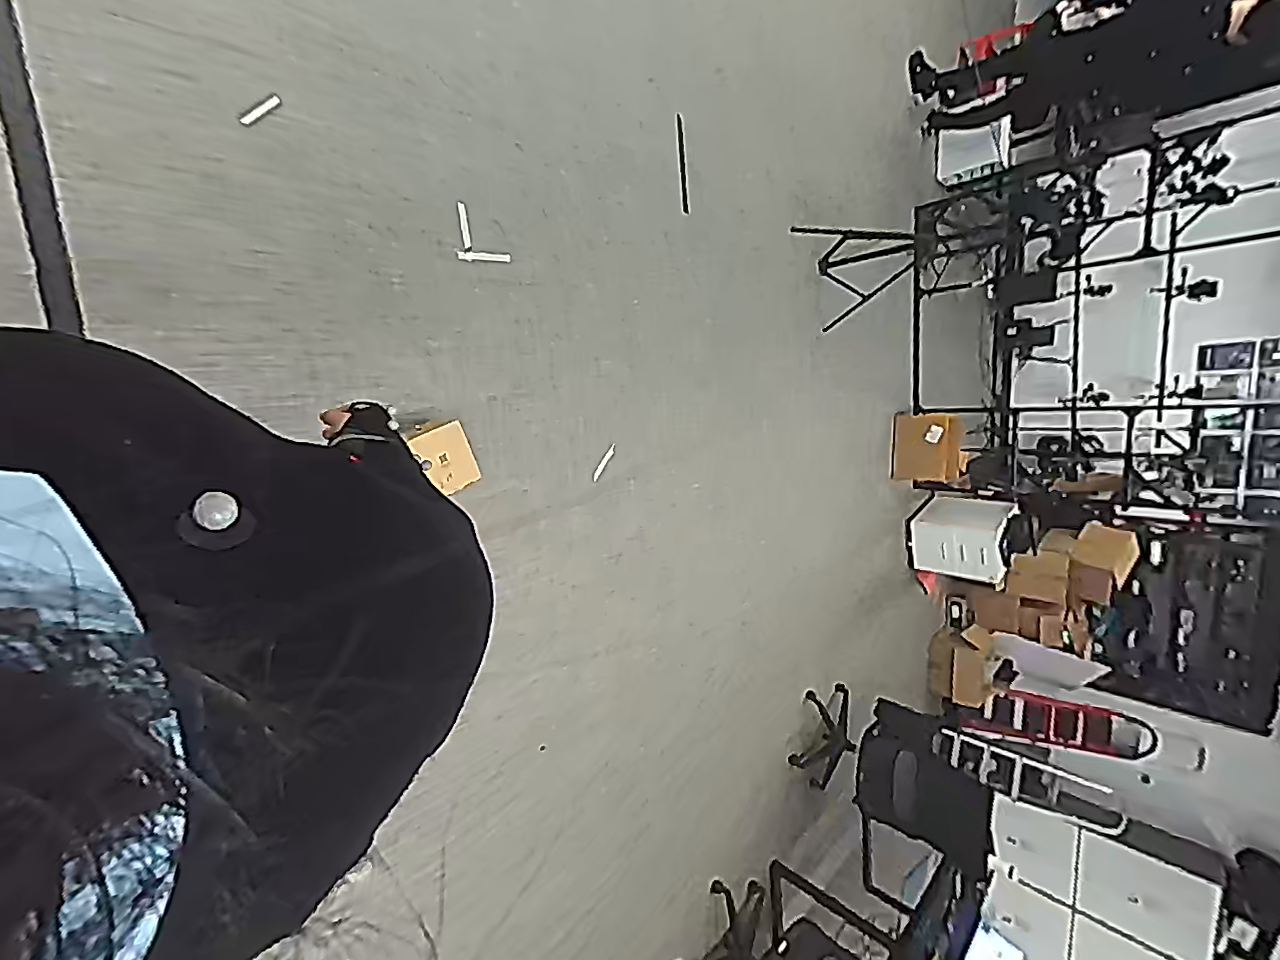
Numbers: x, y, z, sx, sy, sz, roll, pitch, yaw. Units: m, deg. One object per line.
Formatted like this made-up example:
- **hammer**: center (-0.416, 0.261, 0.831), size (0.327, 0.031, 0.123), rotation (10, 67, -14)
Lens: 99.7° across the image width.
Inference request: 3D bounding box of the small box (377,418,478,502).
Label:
- **small box**: center (-0.578, -0.057, 1.464), size (0.168, 0.176, 0.179), rotation (-33, 117, -37)
